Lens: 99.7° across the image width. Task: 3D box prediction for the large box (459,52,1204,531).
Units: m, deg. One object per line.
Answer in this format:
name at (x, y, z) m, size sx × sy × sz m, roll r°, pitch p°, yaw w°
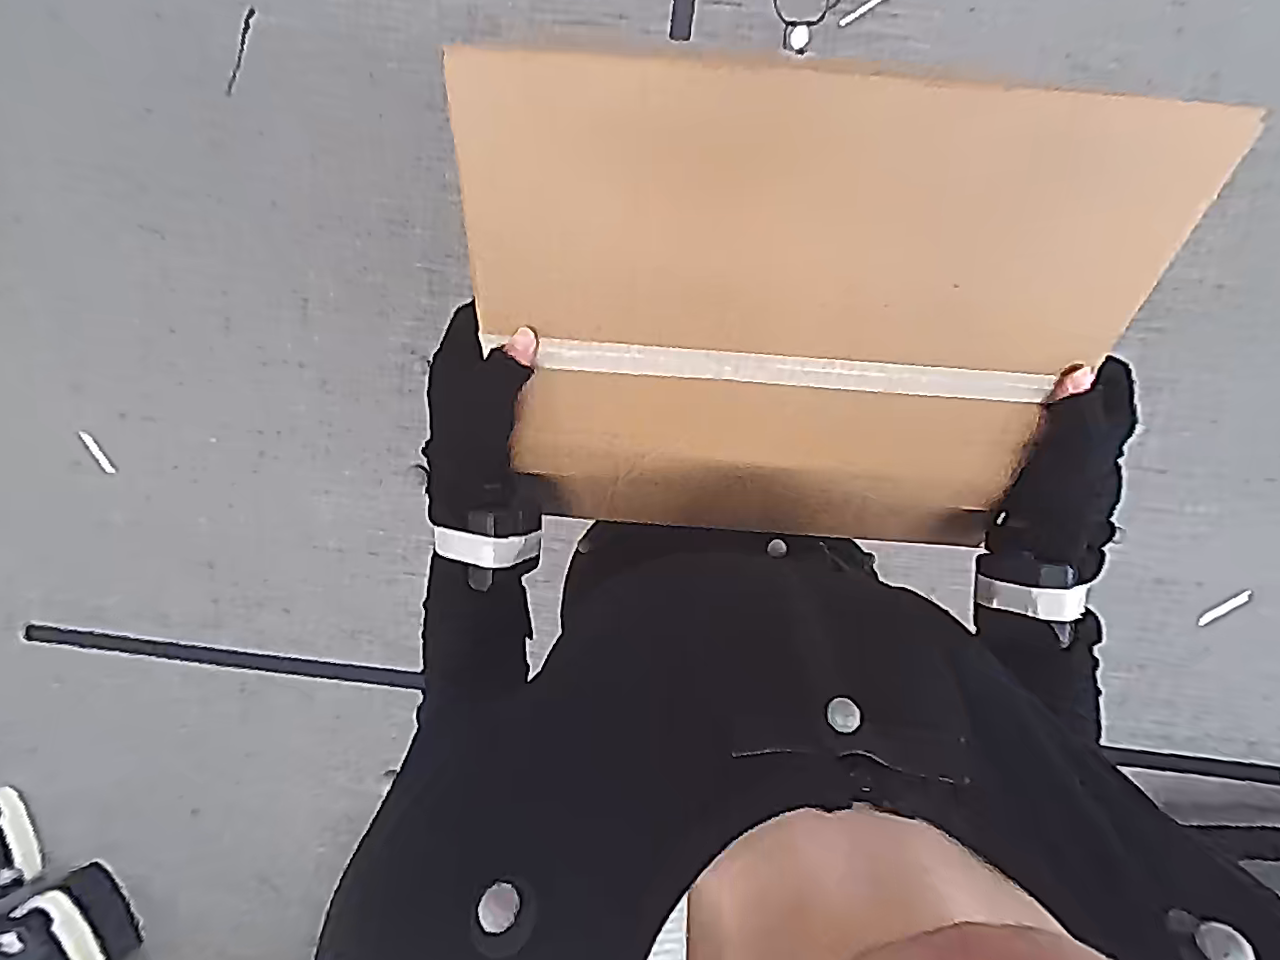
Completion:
large box at (0.101, -0.177, 0.492) m, size 0.408 × 0.320 × 0.320 m, roll 4°, pitch 130°, yaw 0°
